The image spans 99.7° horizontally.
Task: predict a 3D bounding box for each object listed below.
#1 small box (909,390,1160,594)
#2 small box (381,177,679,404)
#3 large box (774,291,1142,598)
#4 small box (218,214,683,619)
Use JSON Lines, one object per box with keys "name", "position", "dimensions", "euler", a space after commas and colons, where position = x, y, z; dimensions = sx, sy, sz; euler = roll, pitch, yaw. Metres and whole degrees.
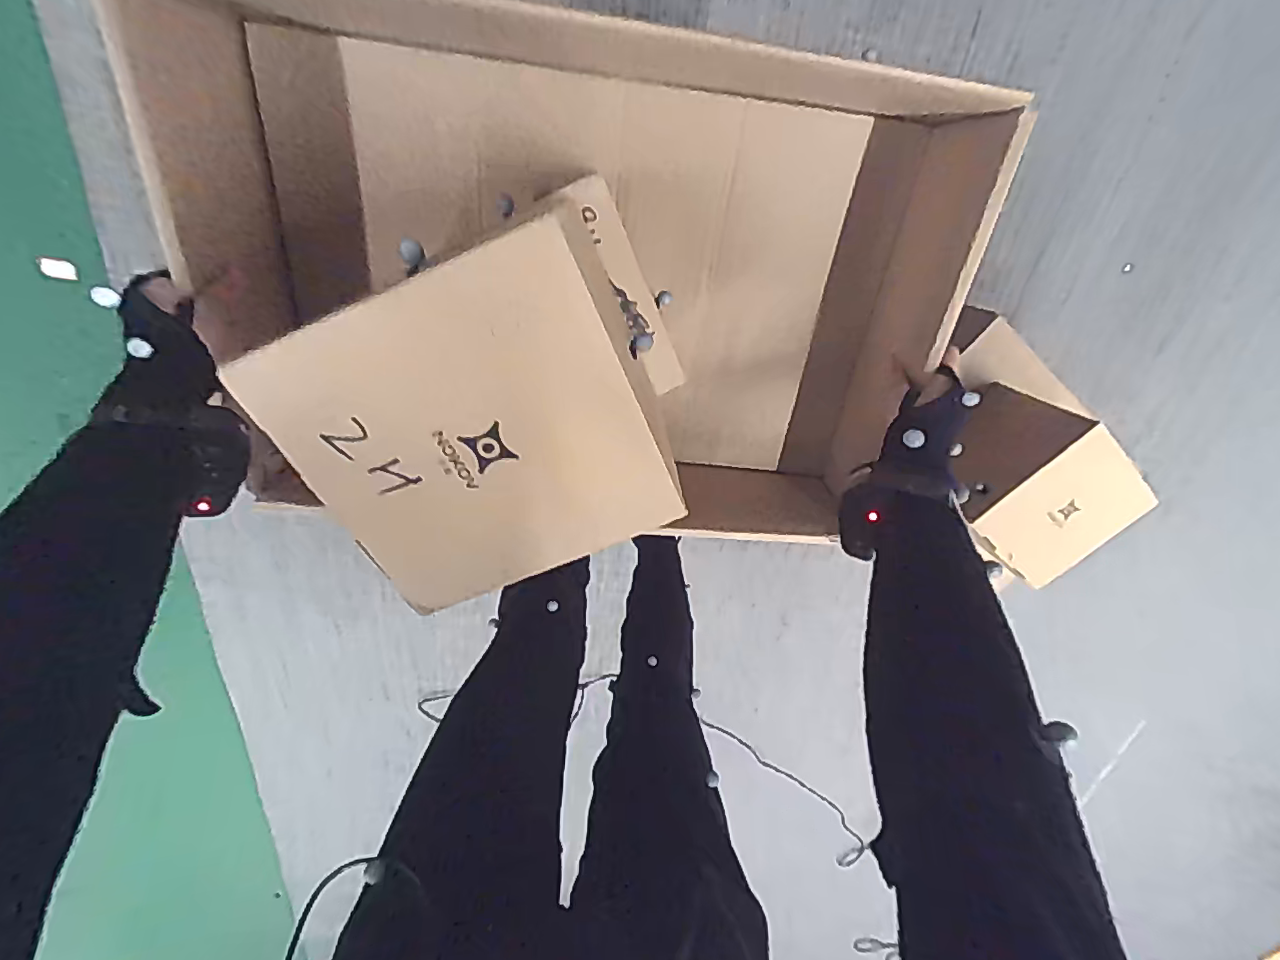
{"name": "small box", "position": [0.504, 0.007, 0.717], "dimensions": [0.168, 0.176, 0.179], "euler": [38, 107, -20]}
{"name": "small box", "position": [-0.081, -0.144, 0.479], "dimensions": [0.179, 0.176, 0.168], "euler": [-22, 119, 9]}
{"name": "large box", "position": [0.518, -0.071, 0.951], "dimensions": [0.408, 0.320, 0.320], "euler": [33, 110, -19]}
{"name": "small box", "position": [-0.090, -0.051, 0.341], "dimensions": [0.179, 0.176, 0.168], "euler": [-21, 117, 8]}
